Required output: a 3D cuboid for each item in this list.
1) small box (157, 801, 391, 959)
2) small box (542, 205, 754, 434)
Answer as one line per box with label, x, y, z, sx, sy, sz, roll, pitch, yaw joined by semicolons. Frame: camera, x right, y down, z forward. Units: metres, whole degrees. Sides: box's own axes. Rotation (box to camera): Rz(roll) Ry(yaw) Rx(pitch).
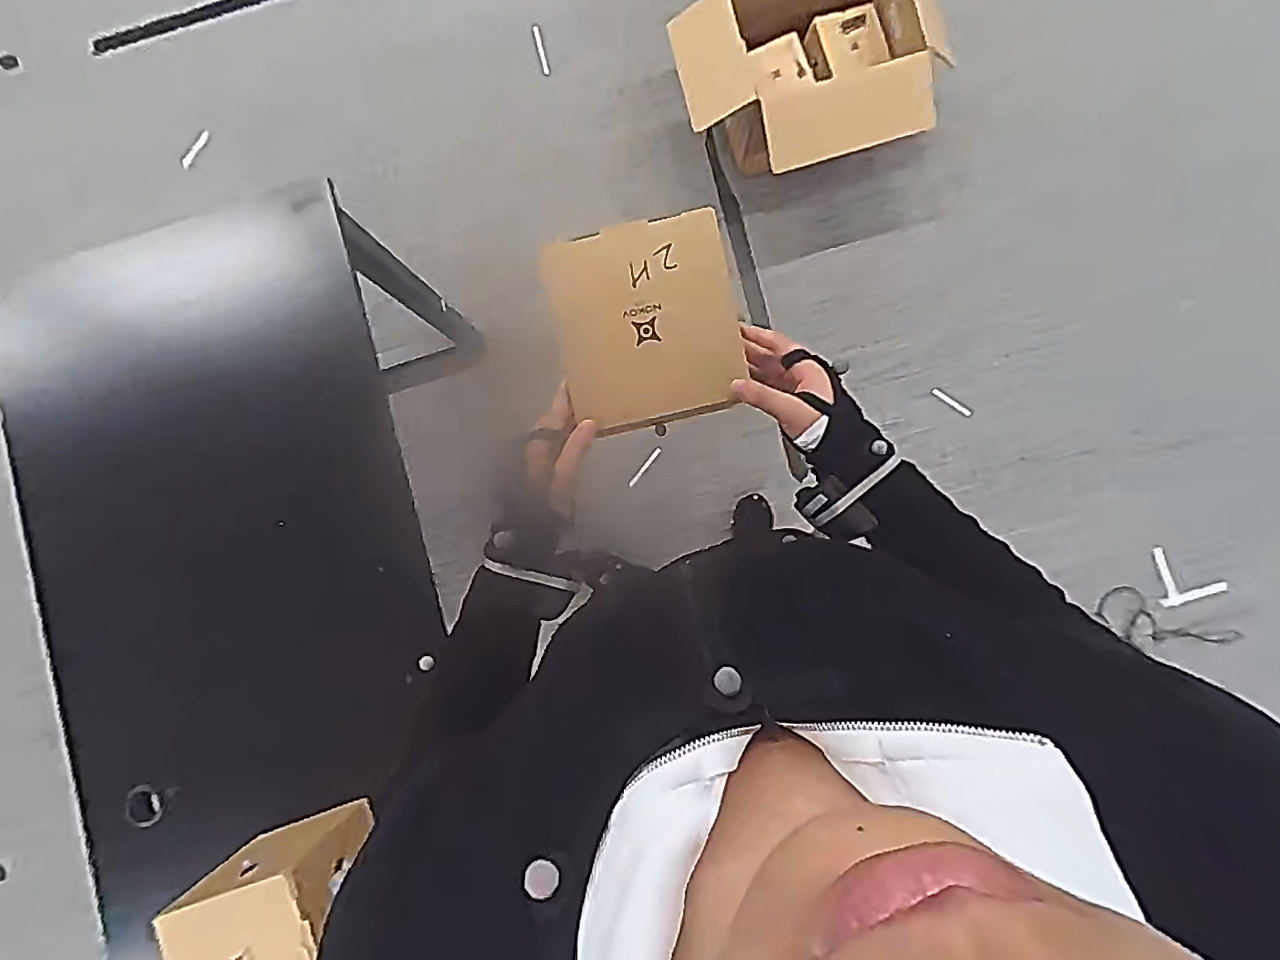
small box;-0.455;0.560;0.706;0.179;0.176;0.168;-21;85;3
small box;0.010;-0.150;0.568;0.168;0.176;0.179;-13;93;2
